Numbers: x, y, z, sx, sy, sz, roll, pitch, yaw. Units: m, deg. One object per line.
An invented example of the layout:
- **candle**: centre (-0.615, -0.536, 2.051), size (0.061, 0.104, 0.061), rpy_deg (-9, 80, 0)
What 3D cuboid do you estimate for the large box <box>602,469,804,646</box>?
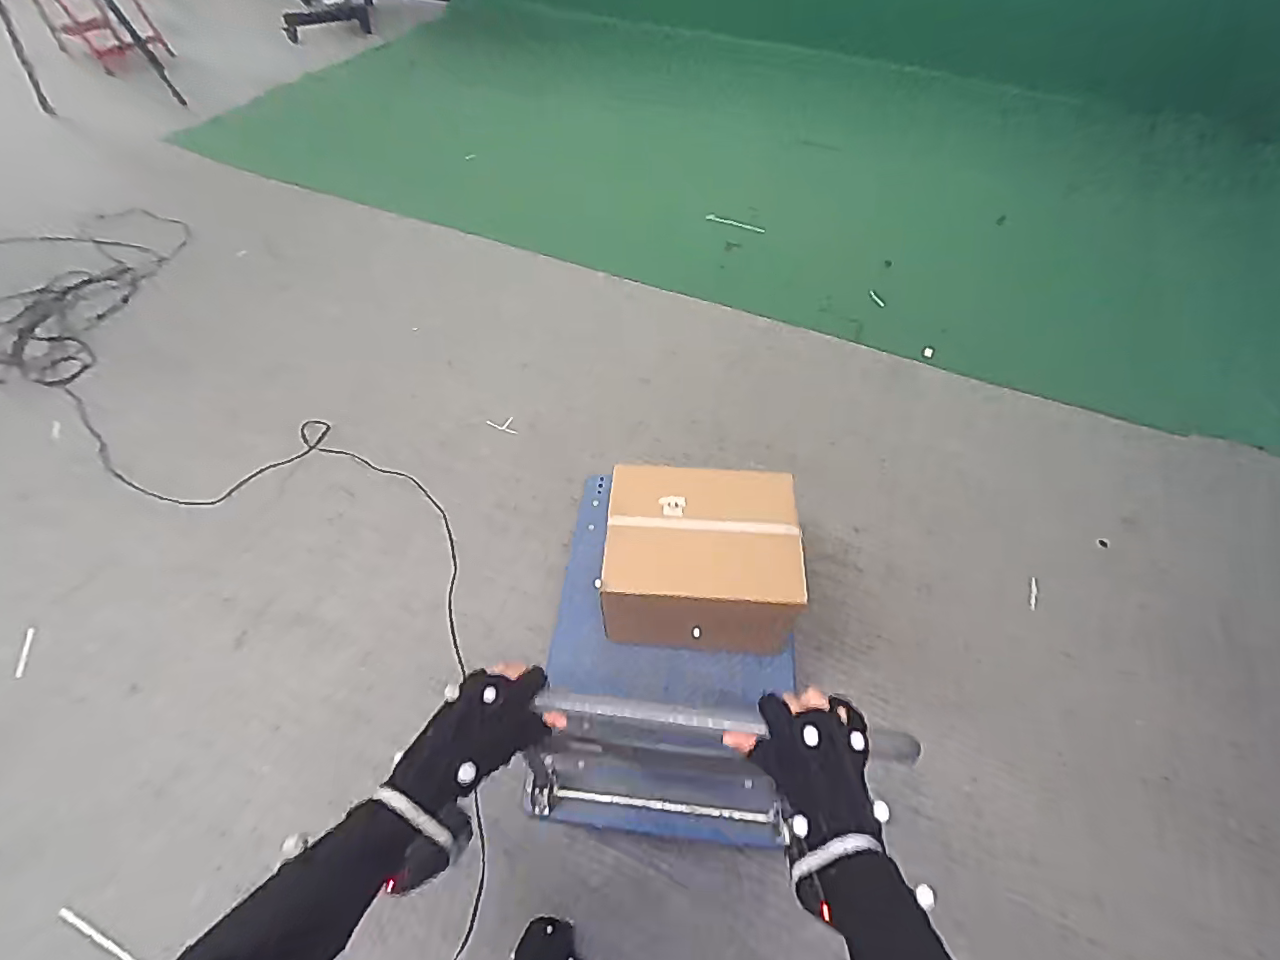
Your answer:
- **large box**: centre (0.133, 0.188, 1.267), size (0.408, 0.320, 0.320), rpy_deg (2, 54, 2)
